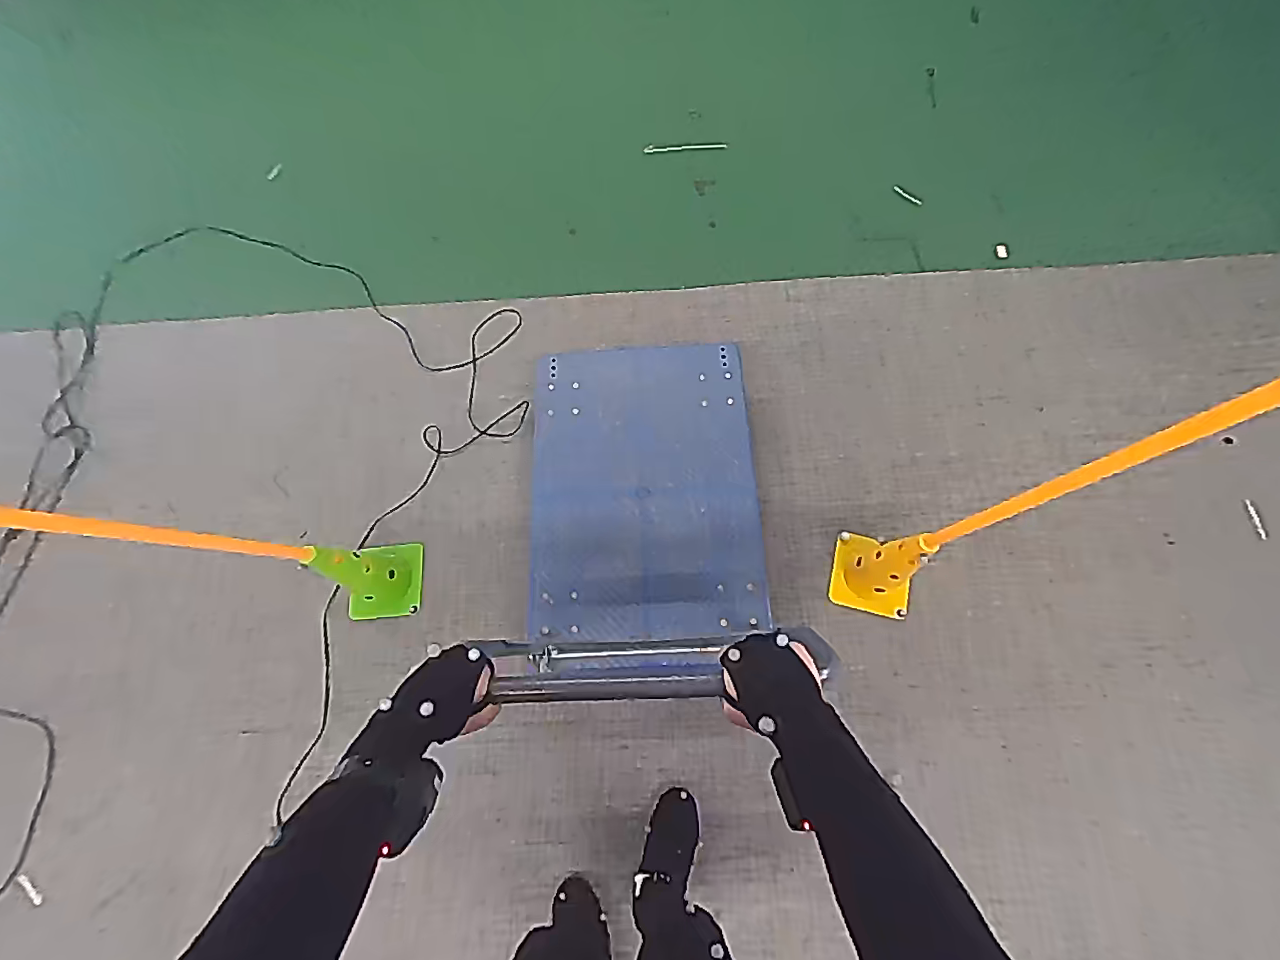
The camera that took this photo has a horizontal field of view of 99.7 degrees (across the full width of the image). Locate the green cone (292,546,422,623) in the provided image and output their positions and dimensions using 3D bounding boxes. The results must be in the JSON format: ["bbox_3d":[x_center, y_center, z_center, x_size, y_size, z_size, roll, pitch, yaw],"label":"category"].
[{"bbox_3d":[-0.725,0.230,1.356,0.202,0.368,0.200,-7,69,3],"label":"green cone"}]
